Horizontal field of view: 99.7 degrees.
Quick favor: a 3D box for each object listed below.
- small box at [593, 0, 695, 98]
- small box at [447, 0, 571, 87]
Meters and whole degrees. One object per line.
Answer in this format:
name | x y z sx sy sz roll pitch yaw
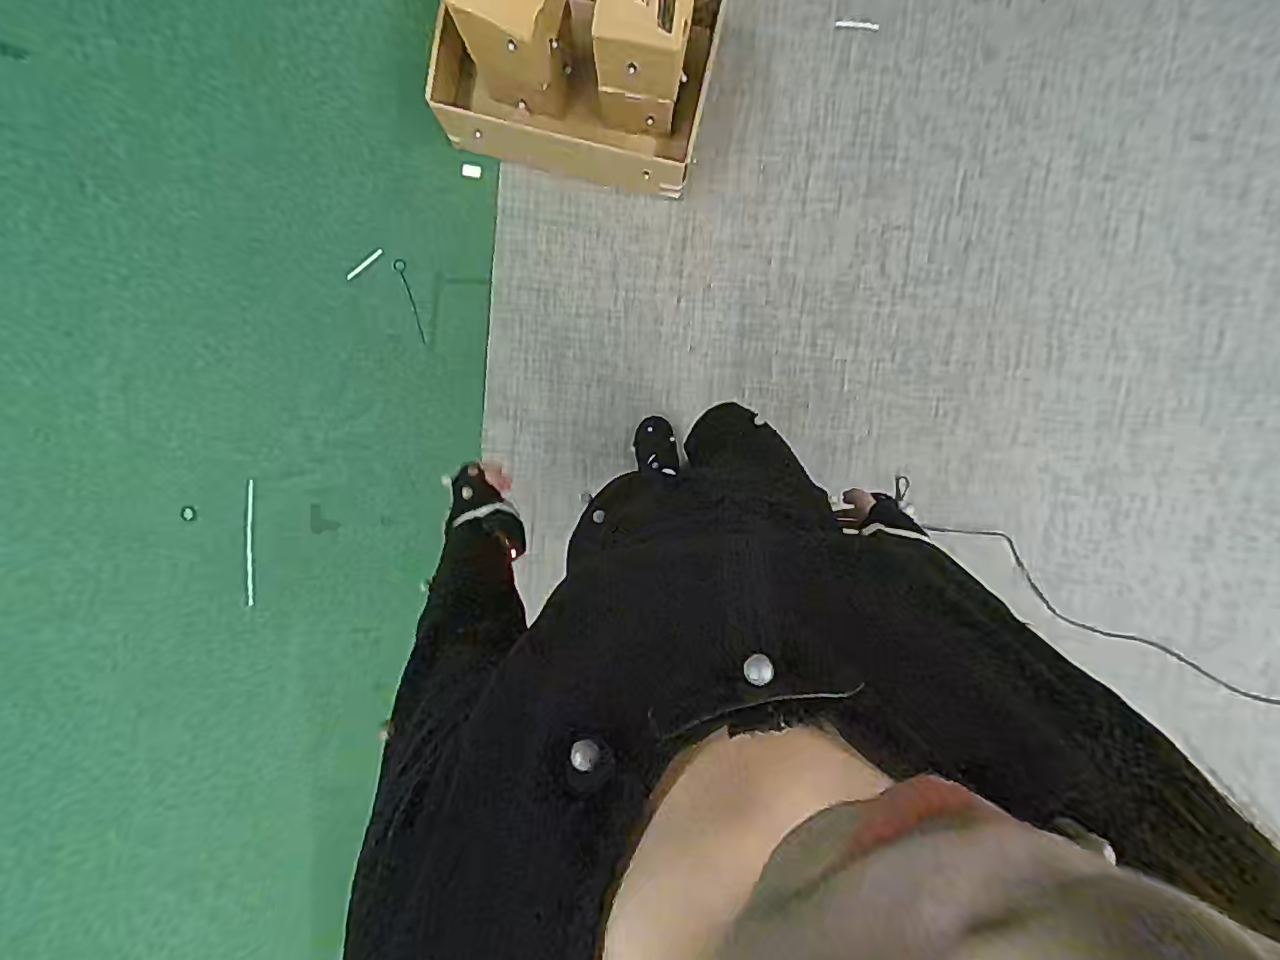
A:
small box | 0.014 -0.912 1.091 0.179 0.176 0.168 12 97 1
small box | -0.255 -0.949 1.094 0.179 0.176 0.168 23 97 -4
